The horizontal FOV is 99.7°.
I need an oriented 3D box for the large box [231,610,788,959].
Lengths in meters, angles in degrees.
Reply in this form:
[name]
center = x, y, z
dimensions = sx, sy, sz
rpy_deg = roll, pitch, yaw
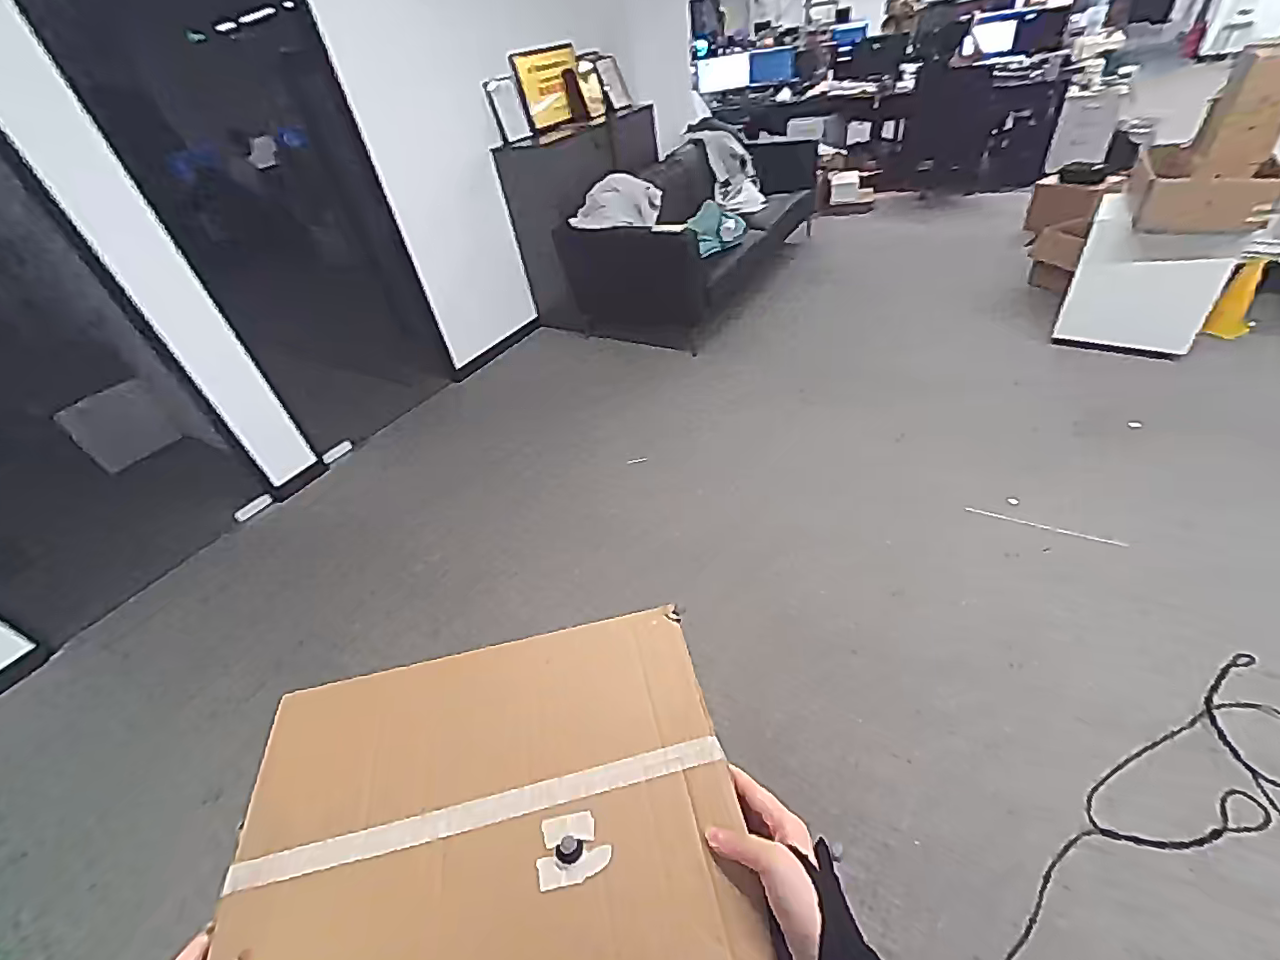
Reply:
[large box]
center = -0.112, 0.389, 0.561
dimensions = 0.408, 0.320, 0.320
rpy_deg = -10, 42, -7
